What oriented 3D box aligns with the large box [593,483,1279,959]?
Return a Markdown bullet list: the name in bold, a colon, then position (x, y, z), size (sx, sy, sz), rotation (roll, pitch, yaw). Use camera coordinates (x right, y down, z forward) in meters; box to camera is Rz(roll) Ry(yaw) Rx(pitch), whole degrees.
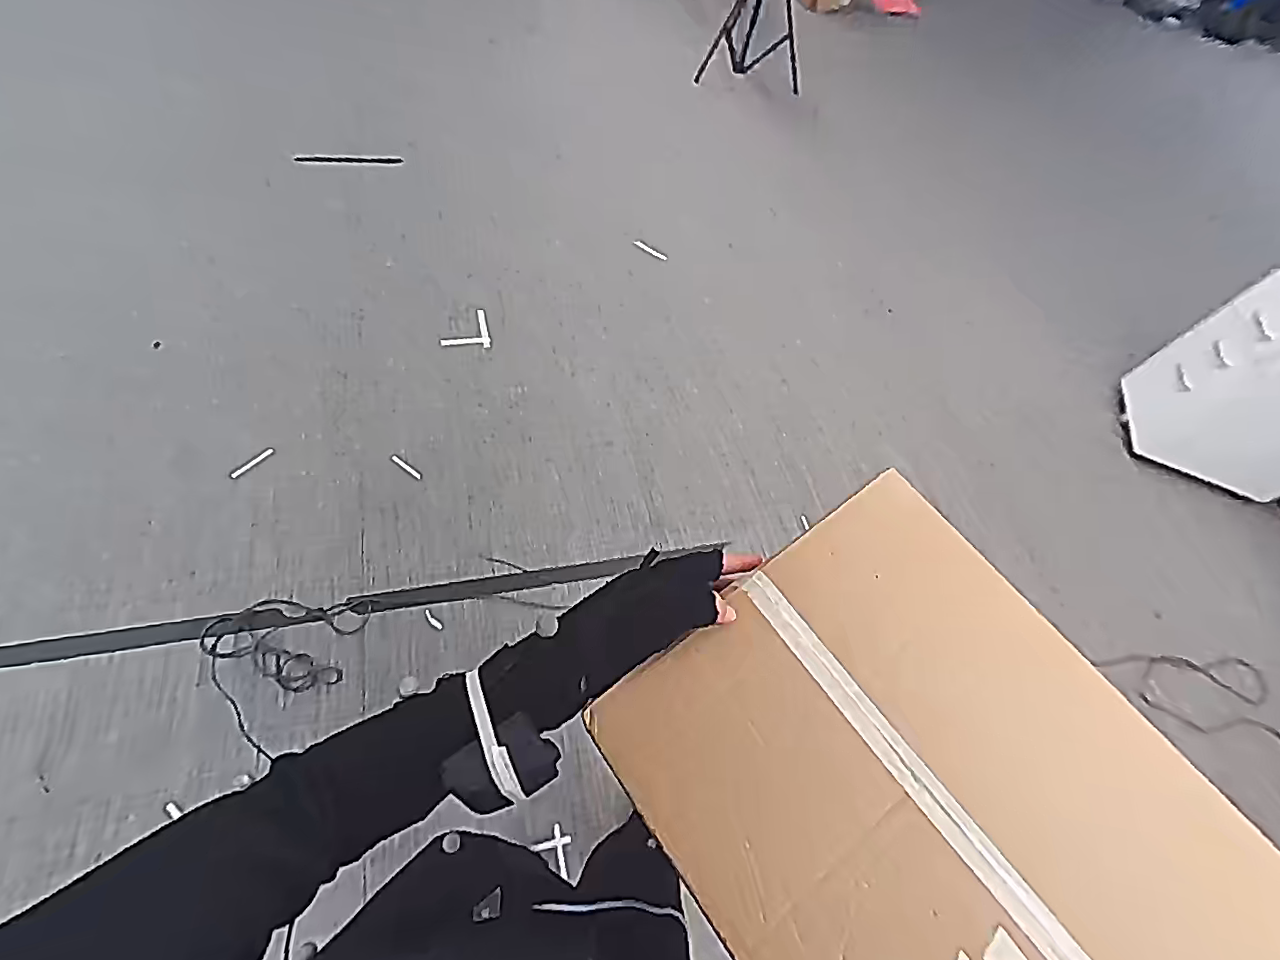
- **large box**: position (0.197, 0.284, 0.500), size (0.320, 0.320, 0.408), rotation (-34, 72, -14)
